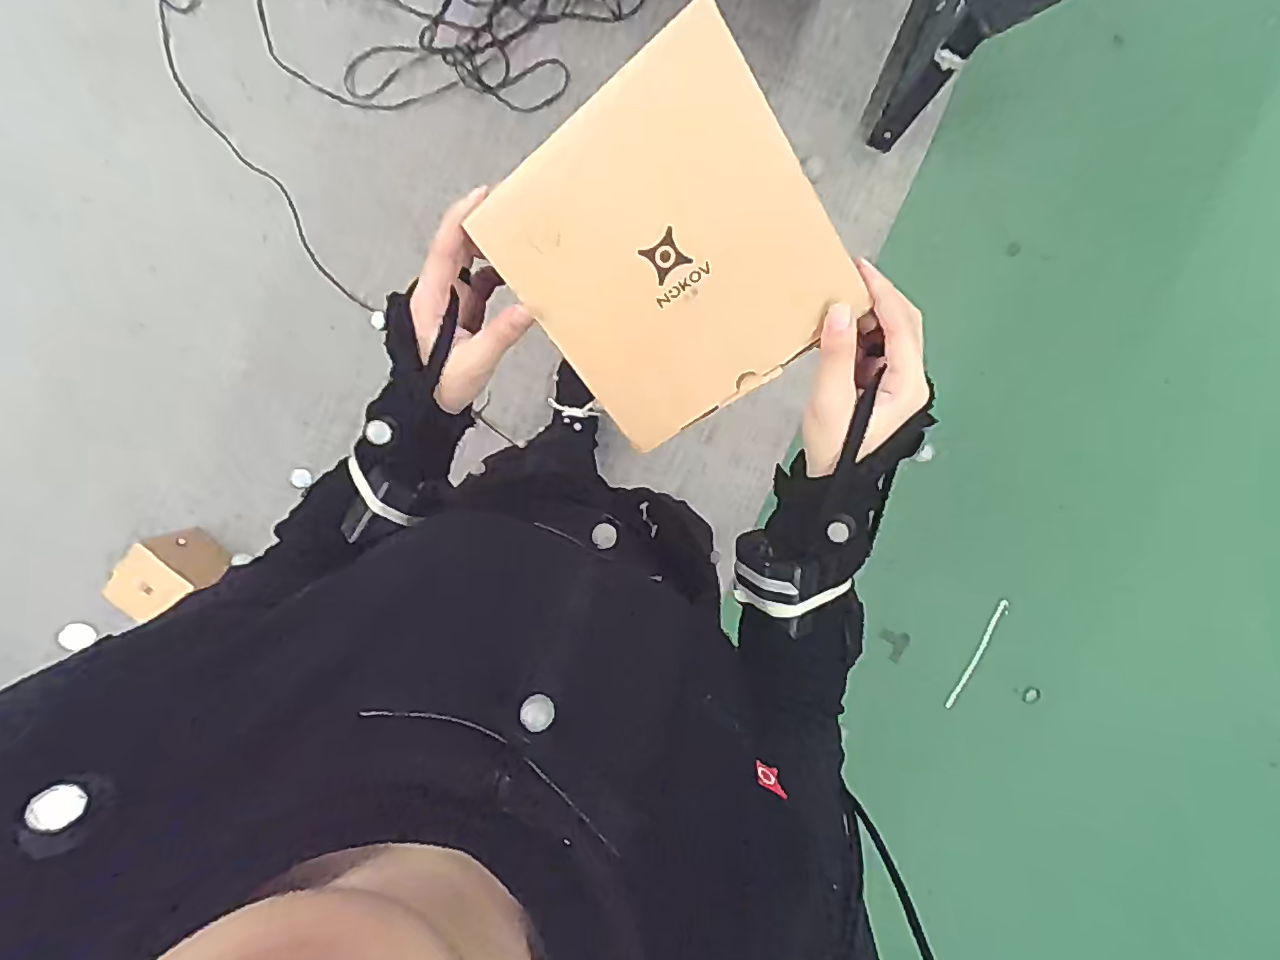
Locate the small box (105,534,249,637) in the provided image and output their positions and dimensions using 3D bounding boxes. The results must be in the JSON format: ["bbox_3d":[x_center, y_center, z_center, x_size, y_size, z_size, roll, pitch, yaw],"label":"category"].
[{"bbox_3d":[-1.141,0.251,1.345,0.179,0.176,0.168,39,97,-3],"label":"small box"}]
